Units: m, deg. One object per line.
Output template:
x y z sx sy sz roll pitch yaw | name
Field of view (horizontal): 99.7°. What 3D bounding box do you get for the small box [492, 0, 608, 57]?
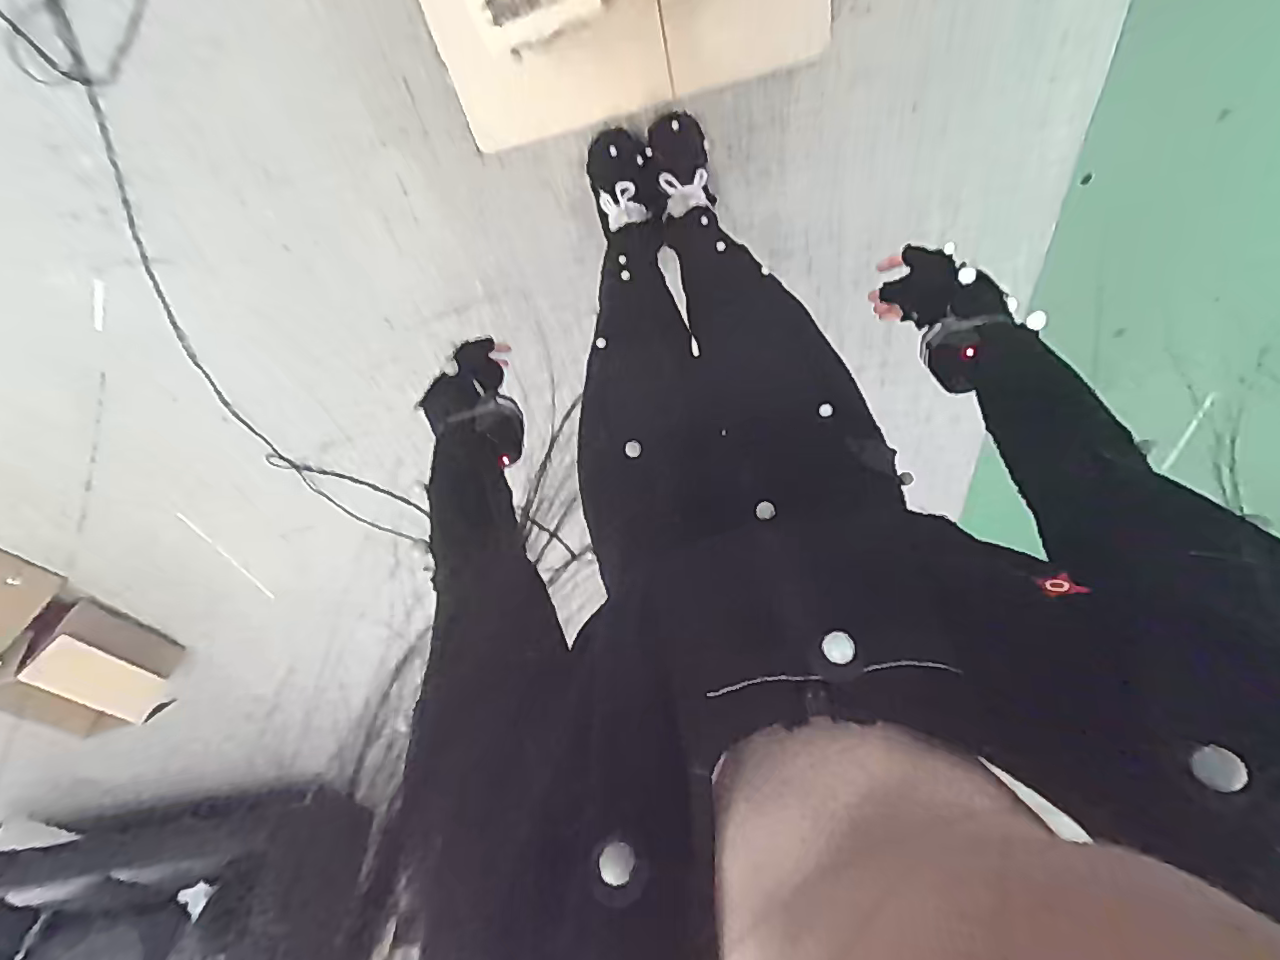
-0.152 -0.805 0.847 0.168 0.176 0.179 -15 131 10 | small box
